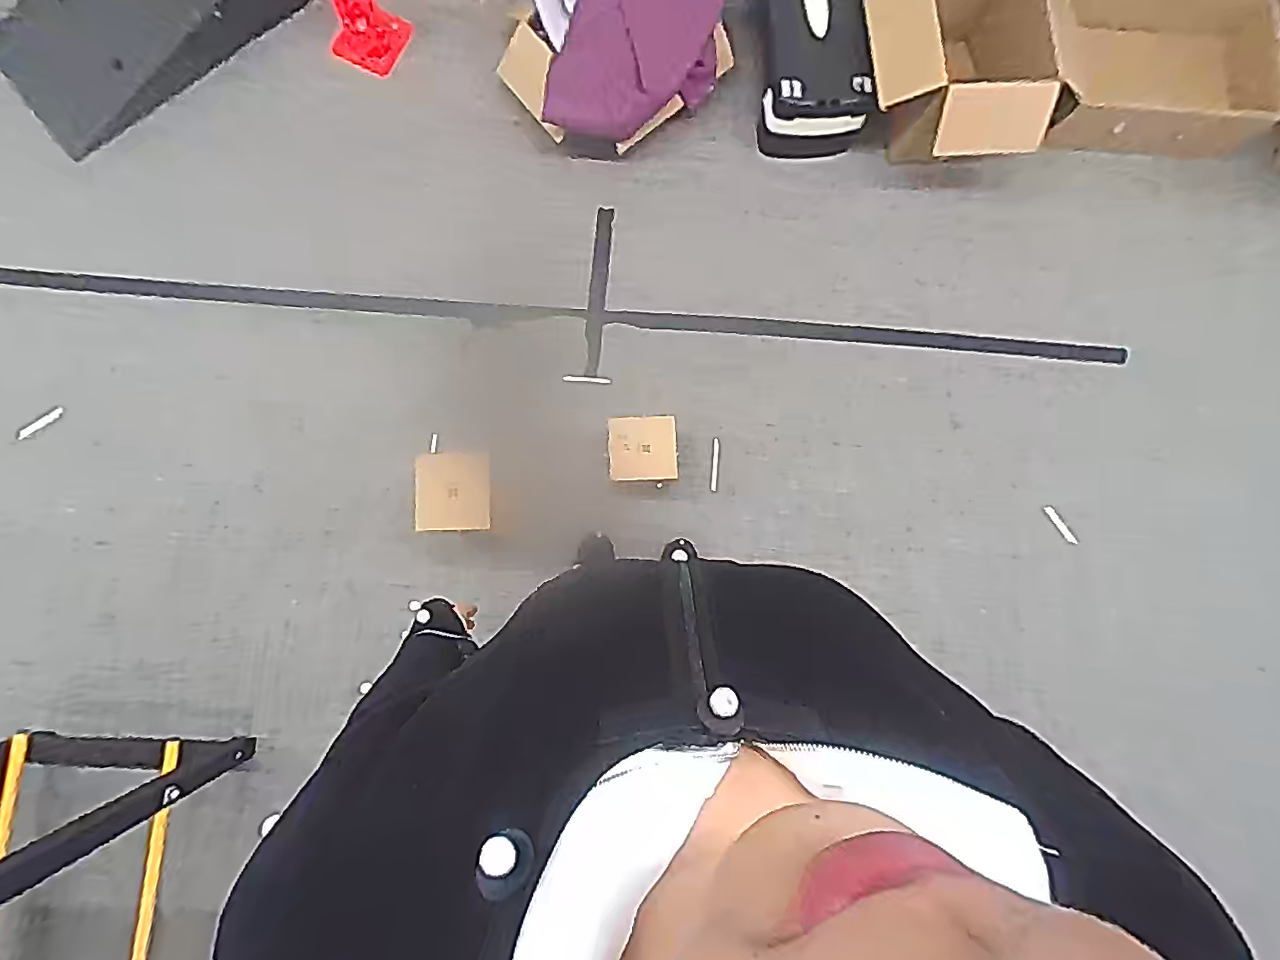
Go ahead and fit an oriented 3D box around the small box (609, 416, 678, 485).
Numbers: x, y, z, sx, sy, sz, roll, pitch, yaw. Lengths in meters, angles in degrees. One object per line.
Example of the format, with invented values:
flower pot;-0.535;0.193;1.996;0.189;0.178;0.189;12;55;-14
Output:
small box;0.004;-0.076;1.464;0.179;0.176;0.168;-2;84;-2

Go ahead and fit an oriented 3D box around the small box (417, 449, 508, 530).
small box;-0.411;0.027;1.273;0.168;0.176;0.179;-2;85;-1
